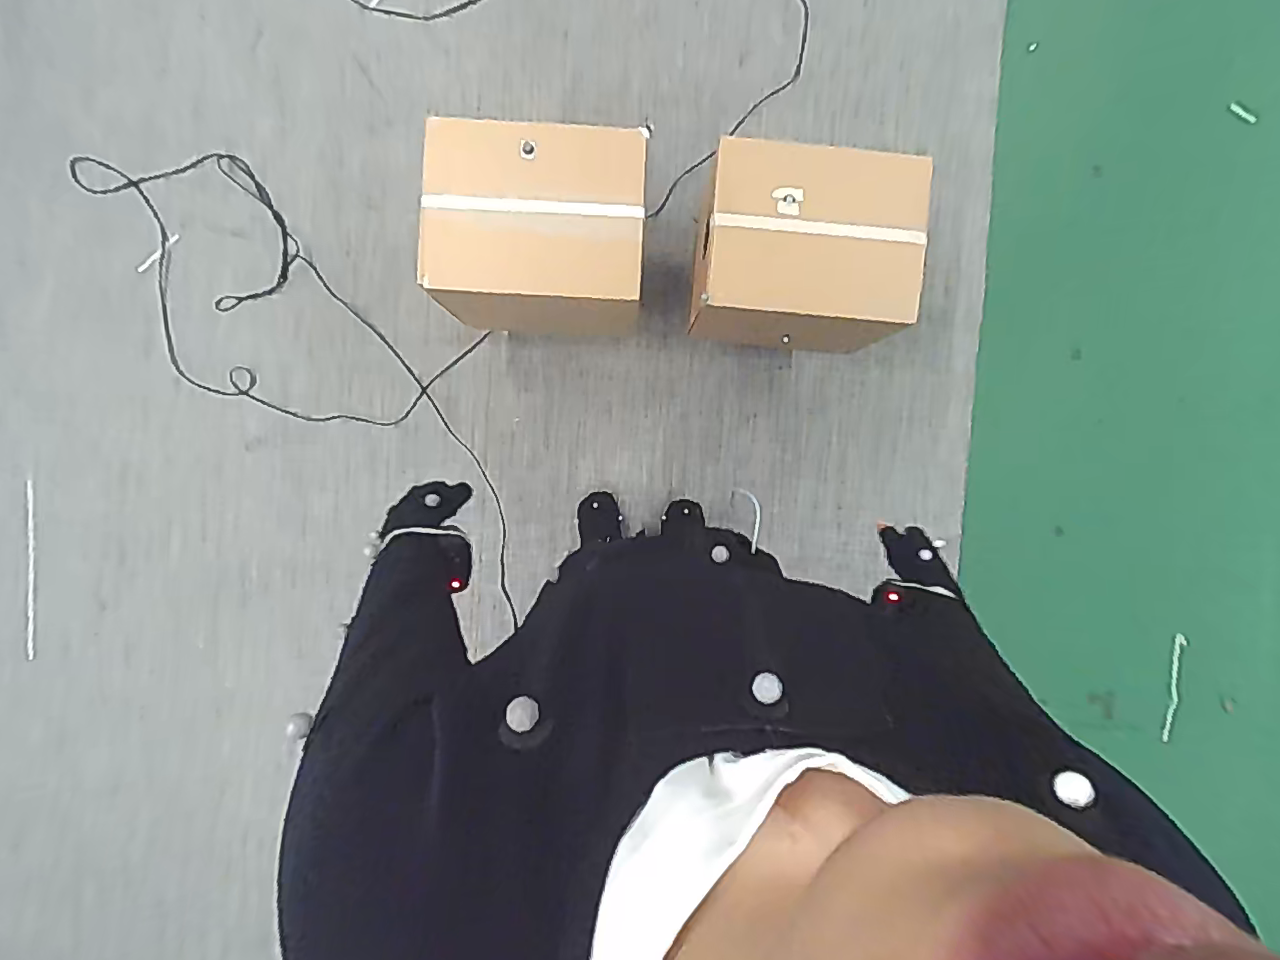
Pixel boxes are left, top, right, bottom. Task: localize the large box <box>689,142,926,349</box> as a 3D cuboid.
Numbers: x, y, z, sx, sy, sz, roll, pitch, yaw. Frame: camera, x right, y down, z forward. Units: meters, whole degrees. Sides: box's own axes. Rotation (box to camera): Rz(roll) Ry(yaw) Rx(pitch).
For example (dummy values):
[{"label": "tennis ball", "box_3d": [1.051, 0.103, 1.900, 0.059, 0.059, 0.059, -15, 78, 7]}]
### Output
[{"label": "large box", "box_3d": [0.331, -0.476, 1.170, 0.408, 0.320, 0.320, 5, 92, -1]}]
